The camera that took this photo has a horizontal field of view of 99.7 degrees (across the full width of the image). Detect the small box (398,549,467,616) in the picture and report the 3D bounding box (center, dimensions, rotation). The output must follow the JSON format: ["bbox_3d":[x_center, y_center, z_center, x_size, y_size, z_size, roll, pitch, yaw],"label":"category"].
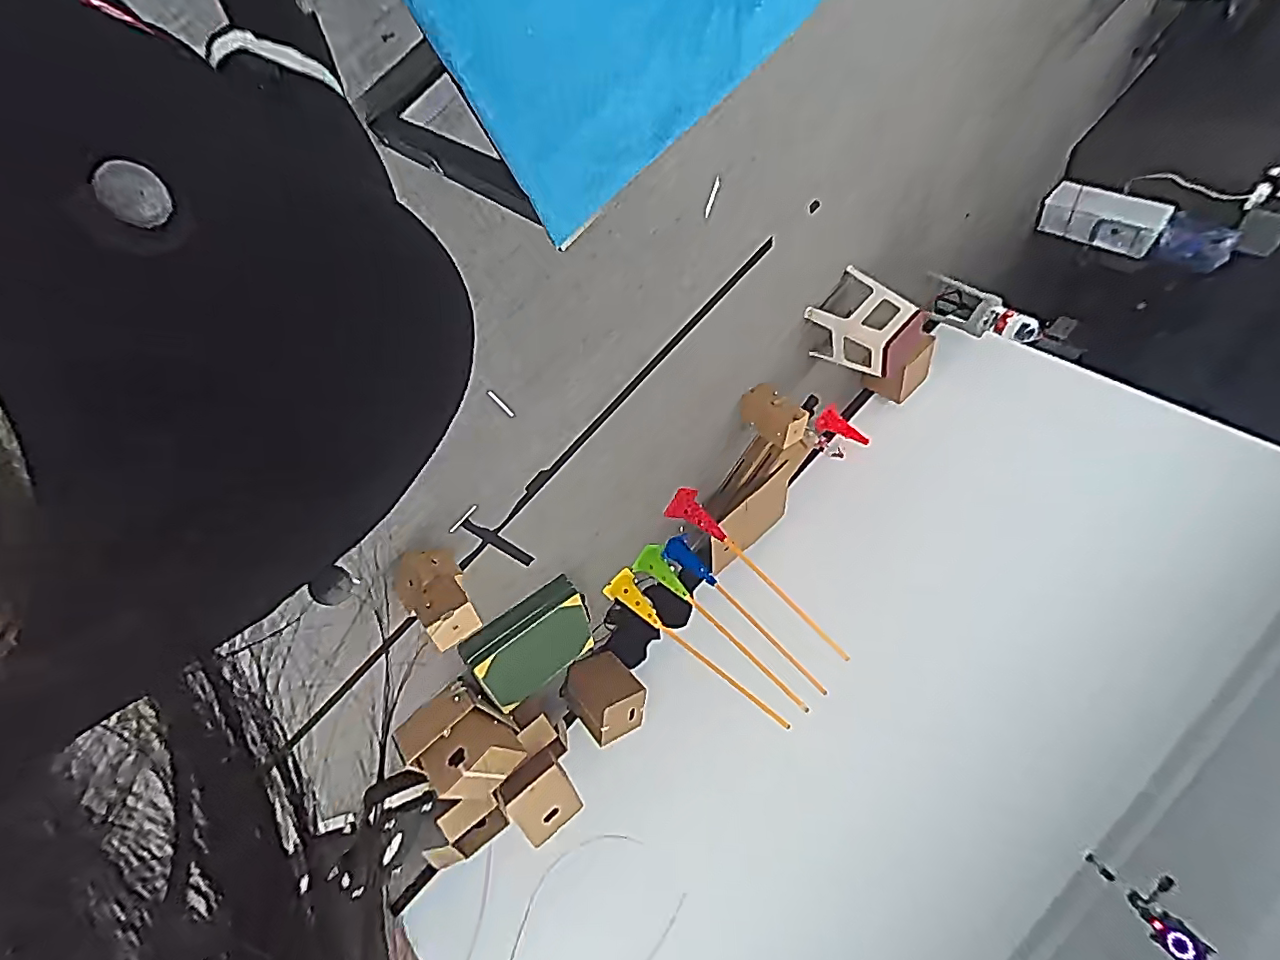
[{"bbox_3d":[-0.781,0.374,2.022,0.168,0.176,0.179,-3,126,-48],"label":"small box"}]

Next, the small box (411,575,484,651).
[{"bbox_3d":[-0.685,0.464,1.921,0.168,0.176,0.179,-31,143,-23],"label":"small box"}]
